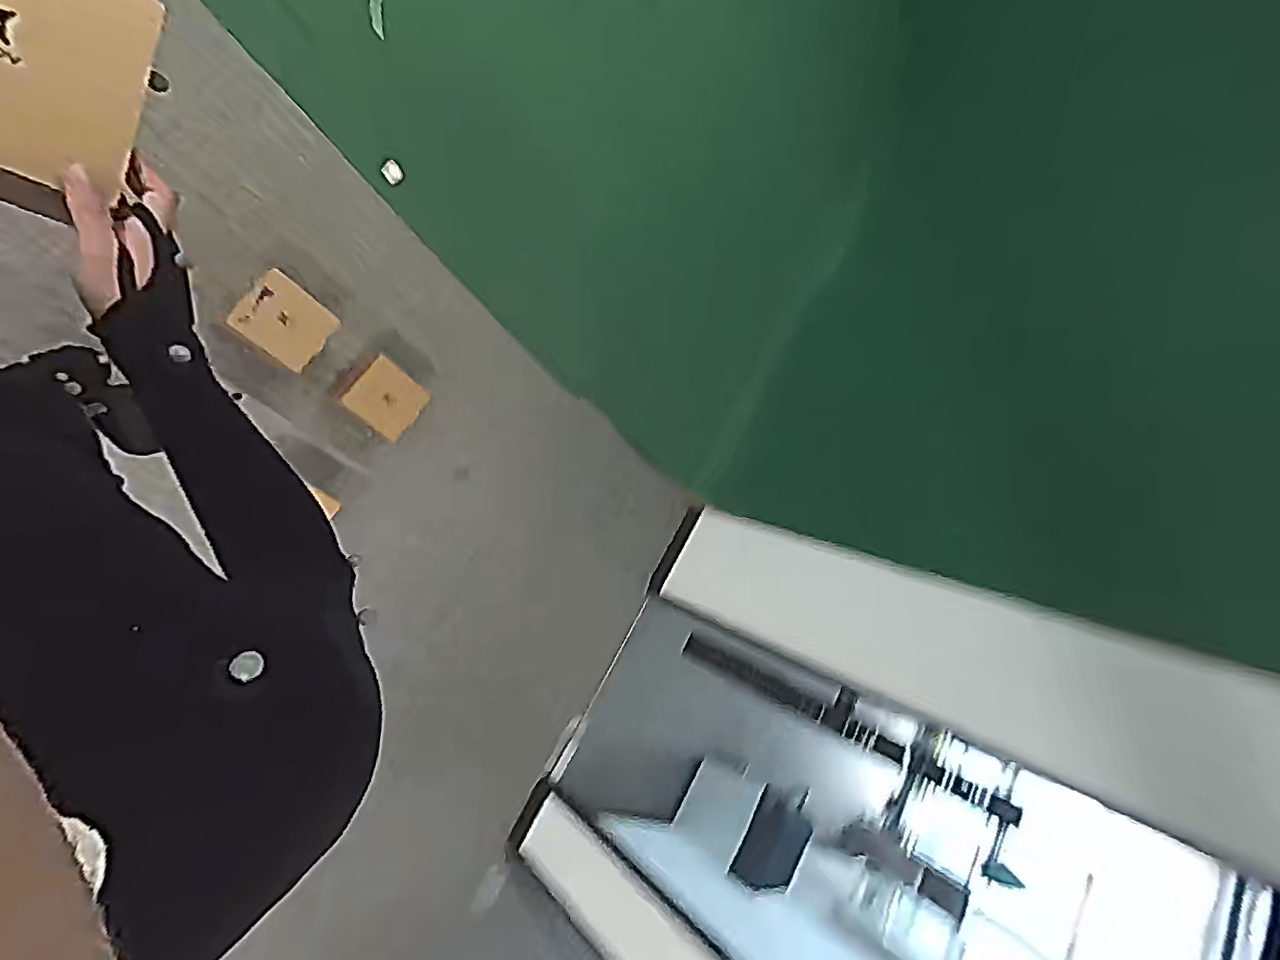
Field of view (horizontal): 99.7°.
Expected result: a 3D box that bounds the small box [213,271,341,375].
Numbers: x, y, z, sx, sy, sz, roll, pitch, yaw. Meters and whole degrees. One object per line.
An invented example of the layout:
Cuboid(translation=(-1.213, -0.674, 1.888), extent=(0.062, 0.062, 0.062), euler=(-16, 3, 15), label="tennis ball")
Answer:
Cuboid(translation=(-0.870, -0.378, 1.296), extent=(0.168, 0.176, 0.179), euler=(-58, 136, -16), label="small box")

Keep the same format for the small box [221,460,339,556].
Cuboid(translation=(-0.922, 0.065, 1.379), extent=(0.168, 0.176, 0.179), euler=(-56, 135, -17), label="small box")
